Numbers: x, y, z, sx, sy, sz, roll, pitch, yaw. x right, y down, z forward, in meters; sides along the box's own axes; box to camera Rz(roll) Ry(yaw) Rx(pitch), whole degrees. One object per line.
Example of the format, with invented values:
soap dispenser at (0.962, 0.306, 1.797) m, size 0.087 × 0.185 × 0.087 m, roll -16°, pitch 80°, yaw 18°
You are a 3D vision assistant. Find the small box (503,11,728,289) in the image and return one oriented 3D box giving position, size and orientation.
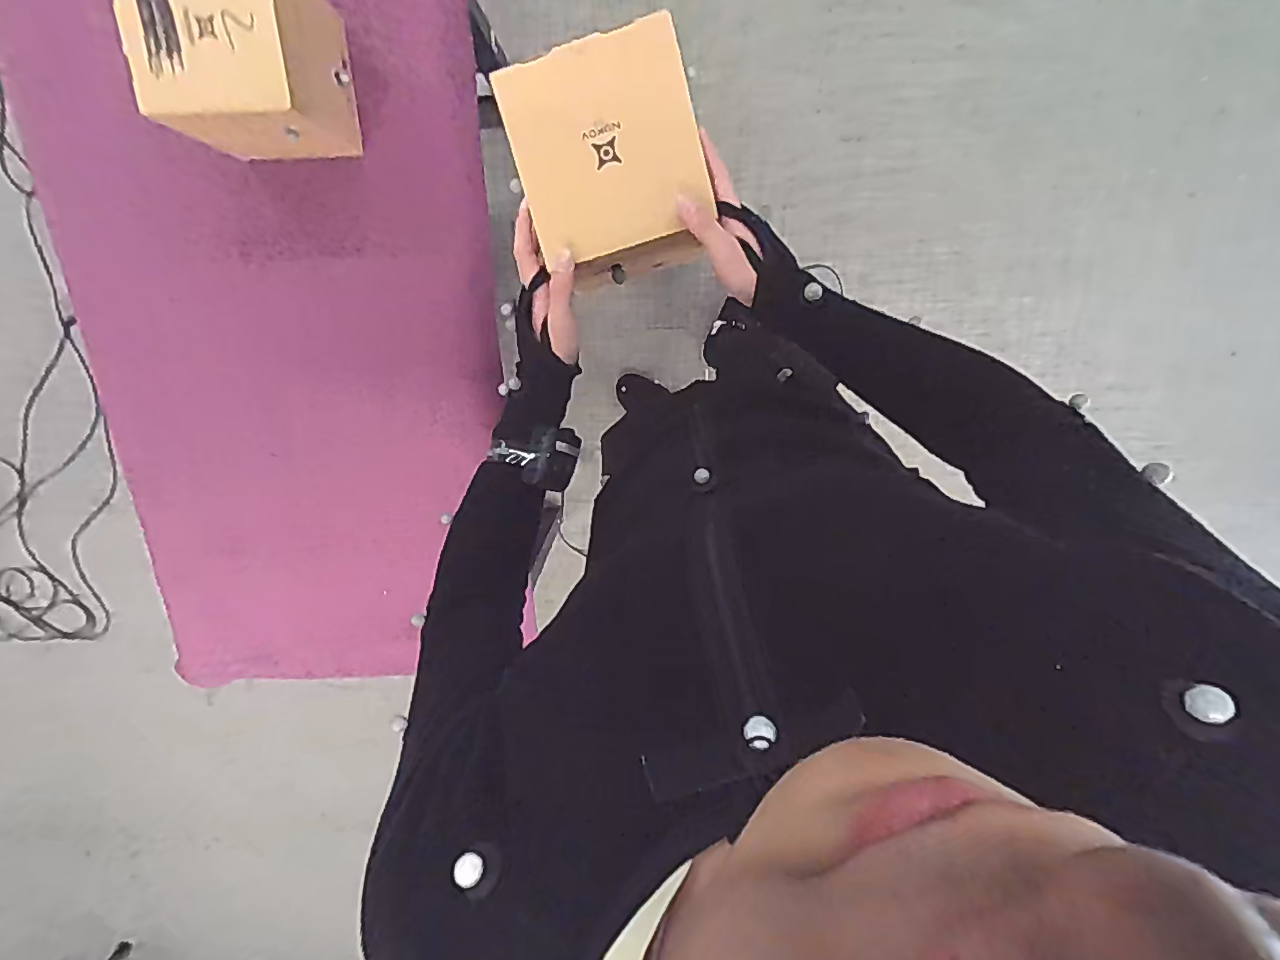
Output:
small box at (-0.015, -0.307, 0.554) m, size 0.168 × 0.176 × 0.179 m, roll -15°, pitch 99°, yaw 6°
